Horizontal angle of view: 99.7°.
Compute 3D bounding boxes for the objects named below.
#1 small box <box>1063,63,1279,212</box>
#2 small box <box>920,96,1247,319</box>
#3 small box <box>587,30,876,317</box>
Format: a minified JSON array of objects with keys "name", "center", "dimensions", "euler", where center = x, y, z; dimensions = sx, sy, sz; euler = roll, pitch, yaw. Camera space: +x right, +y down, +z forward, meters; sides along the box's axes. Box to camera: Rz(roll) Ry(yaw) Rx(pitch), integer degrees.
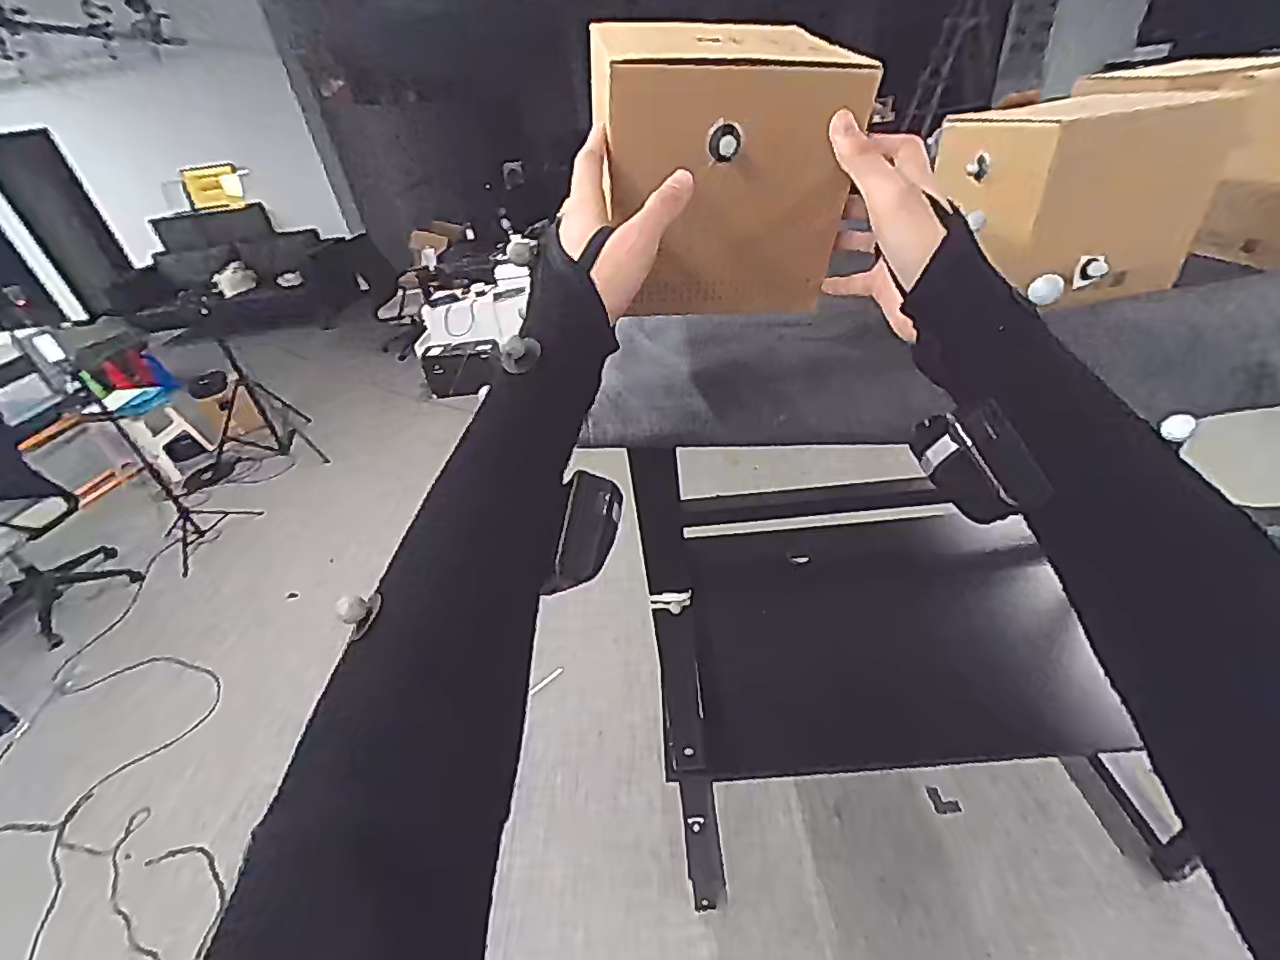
[{"name":"small box","center":[0.735,-0.484,0.783],"dimensions":[0.168,0.176,0.179],"euler":[-7,36,2]},{"name":"small box","center":[0.416,-0.276,0.552],"dimensions":[0.168,0.176,0.179],"euler":[-9,34,-1]},{"name":"small box","center":[0.052,-0.244,0.437],"dimensions":[0.179,0.176,0.168],"euler":[-3,46,-6]}]
